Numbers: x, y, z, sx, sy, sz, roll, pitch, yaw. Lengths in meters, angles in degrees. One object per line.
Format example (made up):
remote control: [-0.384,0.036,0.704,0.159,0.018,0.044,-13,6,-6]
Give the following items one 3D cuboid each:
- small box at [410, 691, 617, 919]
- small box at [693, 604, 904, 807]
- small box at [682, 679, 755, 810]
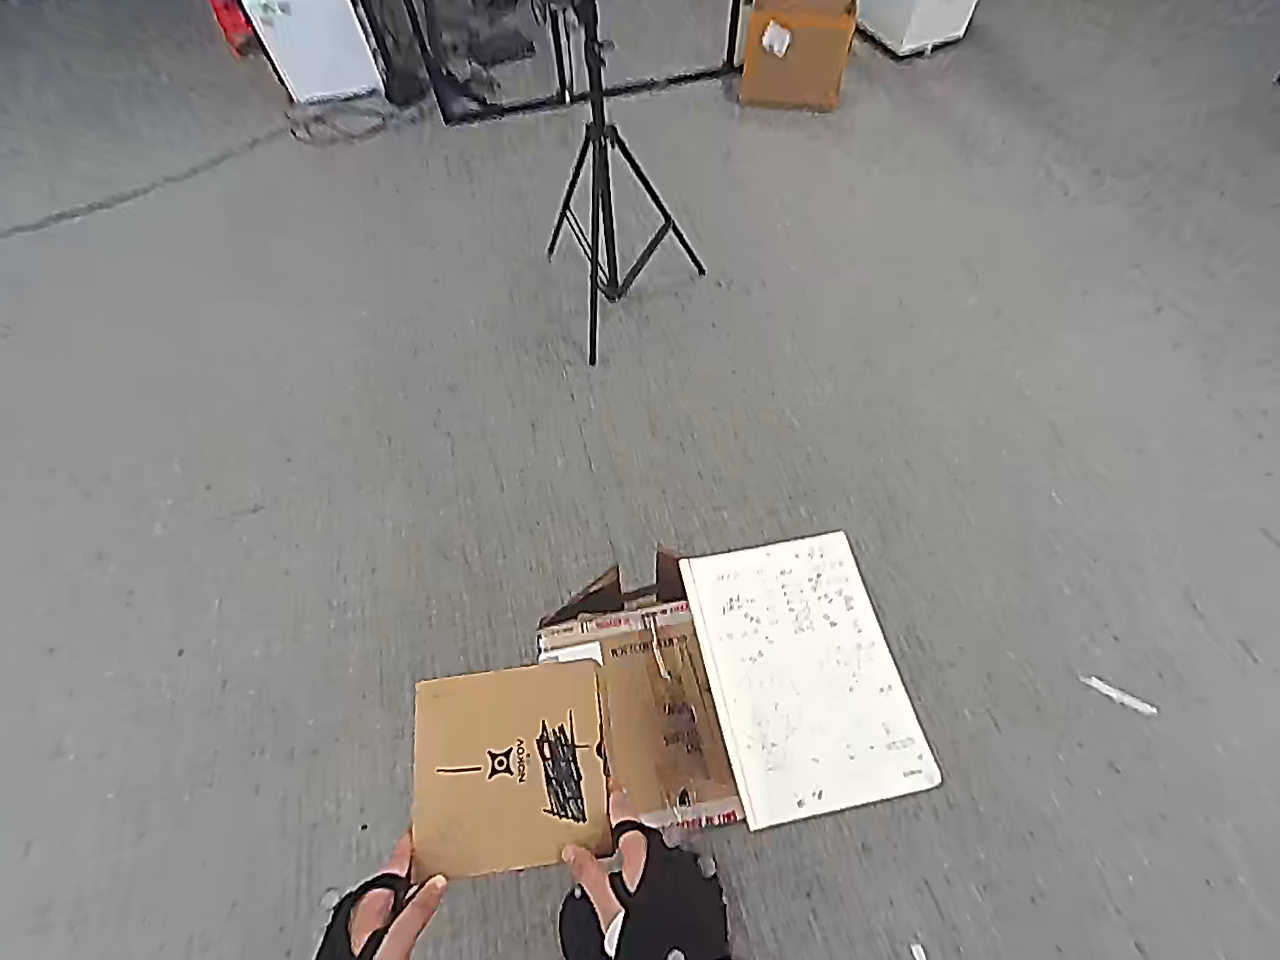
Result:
small box: [-0.116,0.314,0.559,0.179,0.176,0.168,-6,67,-3]
small box: [0.167,0.270,0.644,0.168,0.176,0.179,-12,62,-7]
small box: [0.171,0.356,0.783,0.179,0.176,0.168,-15,62,-8]
